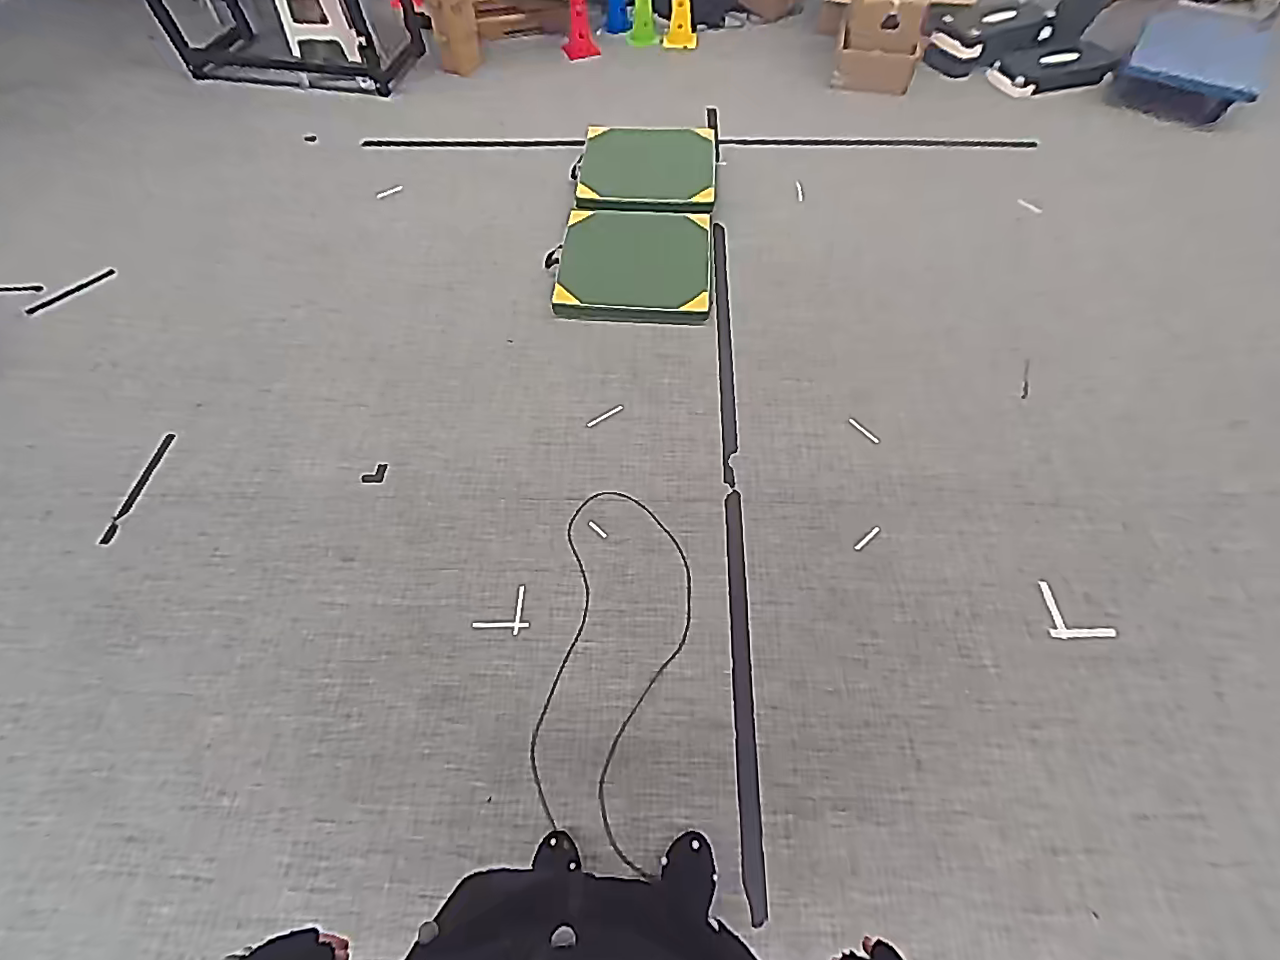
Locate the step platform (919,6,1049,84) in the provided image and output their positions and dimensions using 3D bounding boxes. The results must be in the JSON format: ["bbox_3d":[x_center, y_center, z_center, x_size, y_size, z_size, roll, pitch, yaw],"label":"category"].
[{"bbox_3d":[1.968,-2.490,3.089,0.684,0.204,0.286,-24,62,-13],"label":"step platform"}]
